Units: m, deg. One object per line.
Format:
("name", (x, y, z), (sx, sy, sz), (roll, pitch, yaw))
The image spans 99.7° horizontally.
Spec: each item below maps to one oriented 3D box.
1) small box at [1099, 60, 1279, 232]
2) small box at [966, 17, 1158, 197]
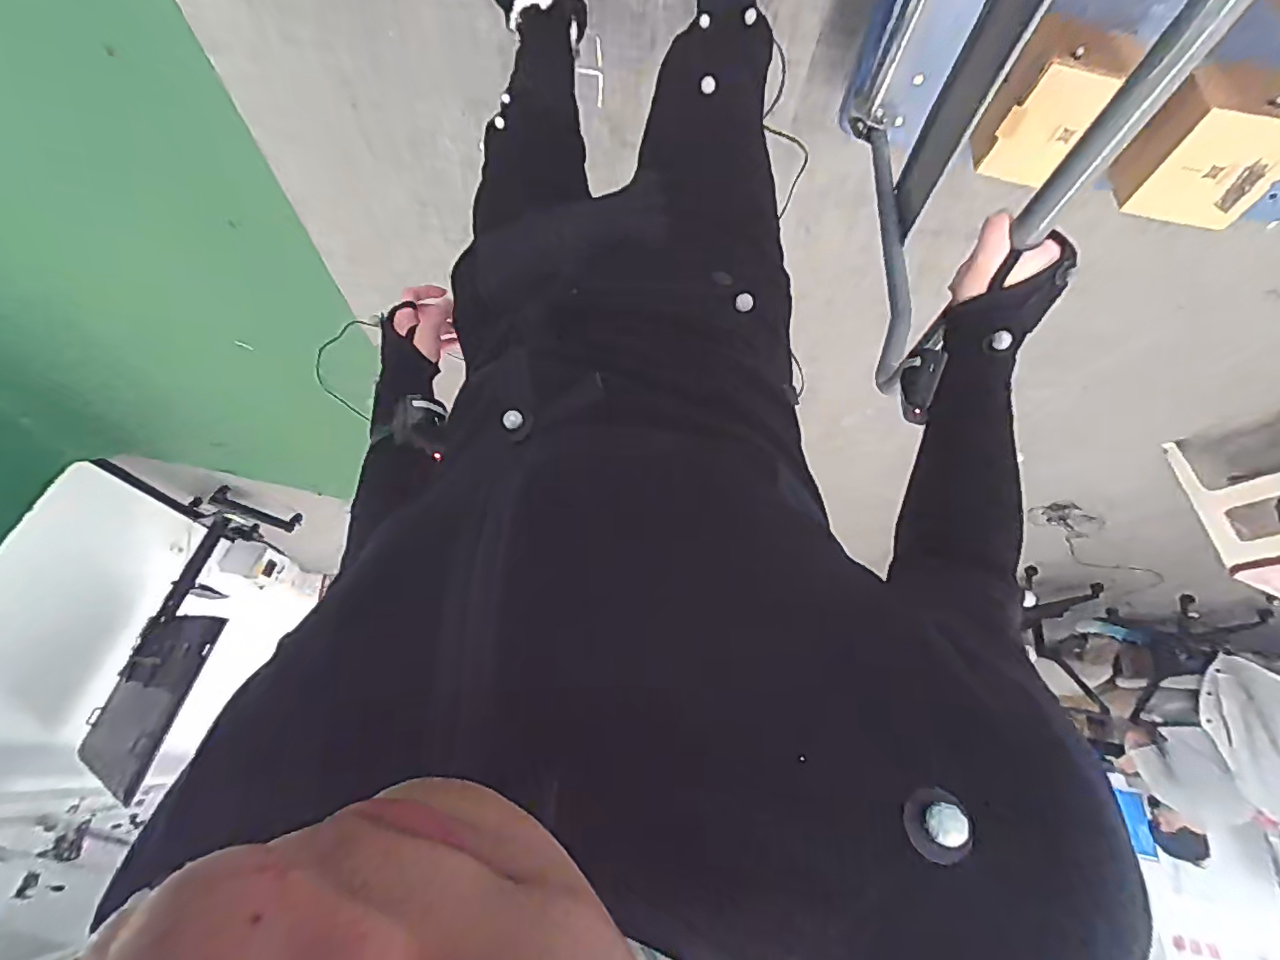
("small box", (0.903, -0.541, 0.877), (0.179, 0.176, 0.168), (12, 151, 2))
("small box", (0.662, -0.600, 0.873), (0.179, 0.176, 0.168), (14, 152, -1))
